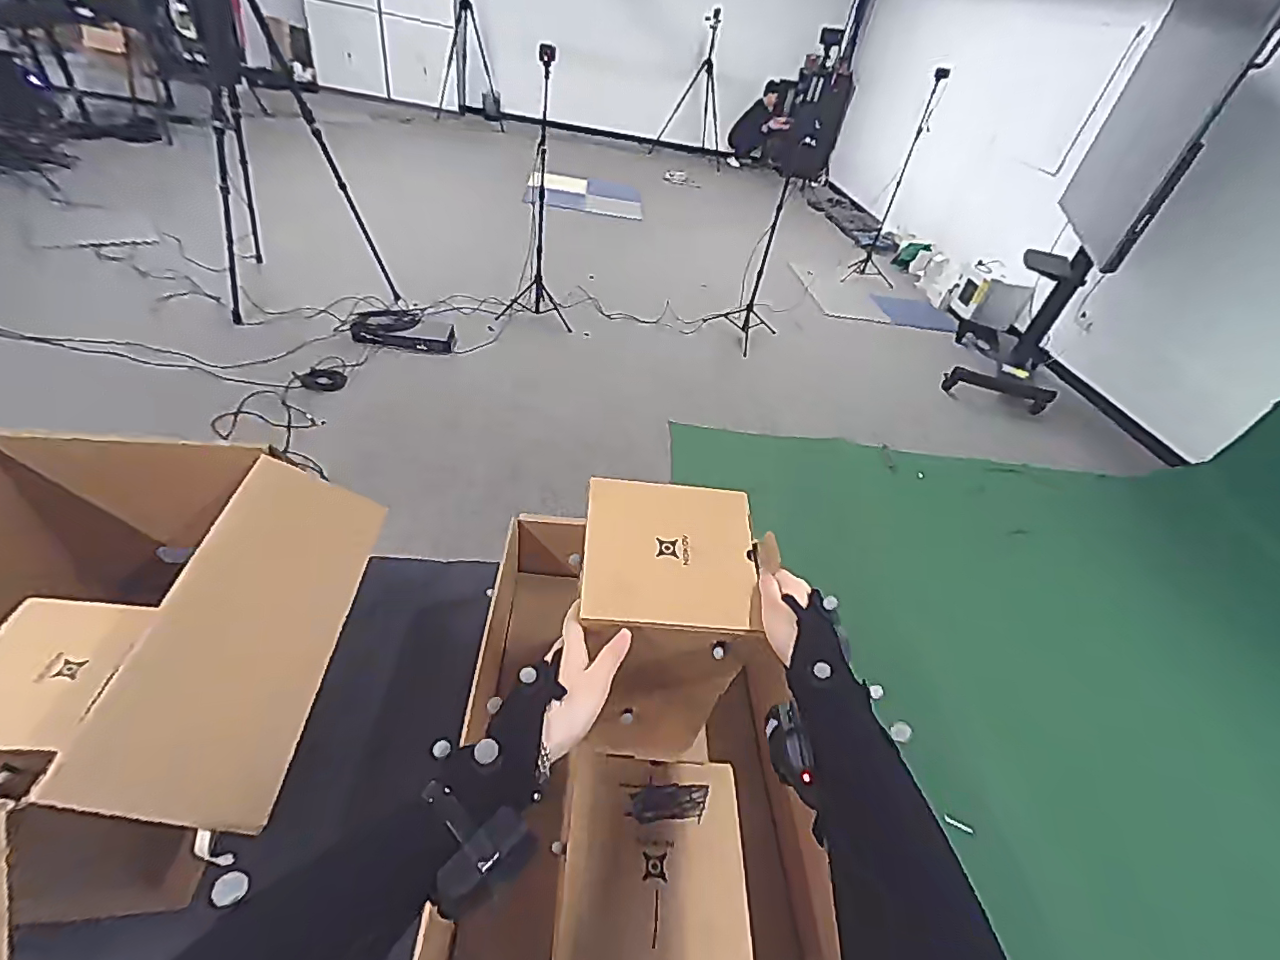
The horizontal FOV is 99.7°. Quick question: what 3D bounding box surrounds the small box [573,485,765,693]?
[{"bbox_3d":[0.020,0.126,0.601,0.179,0.176,0.168,5,50,-6],"label":"small box"}]
